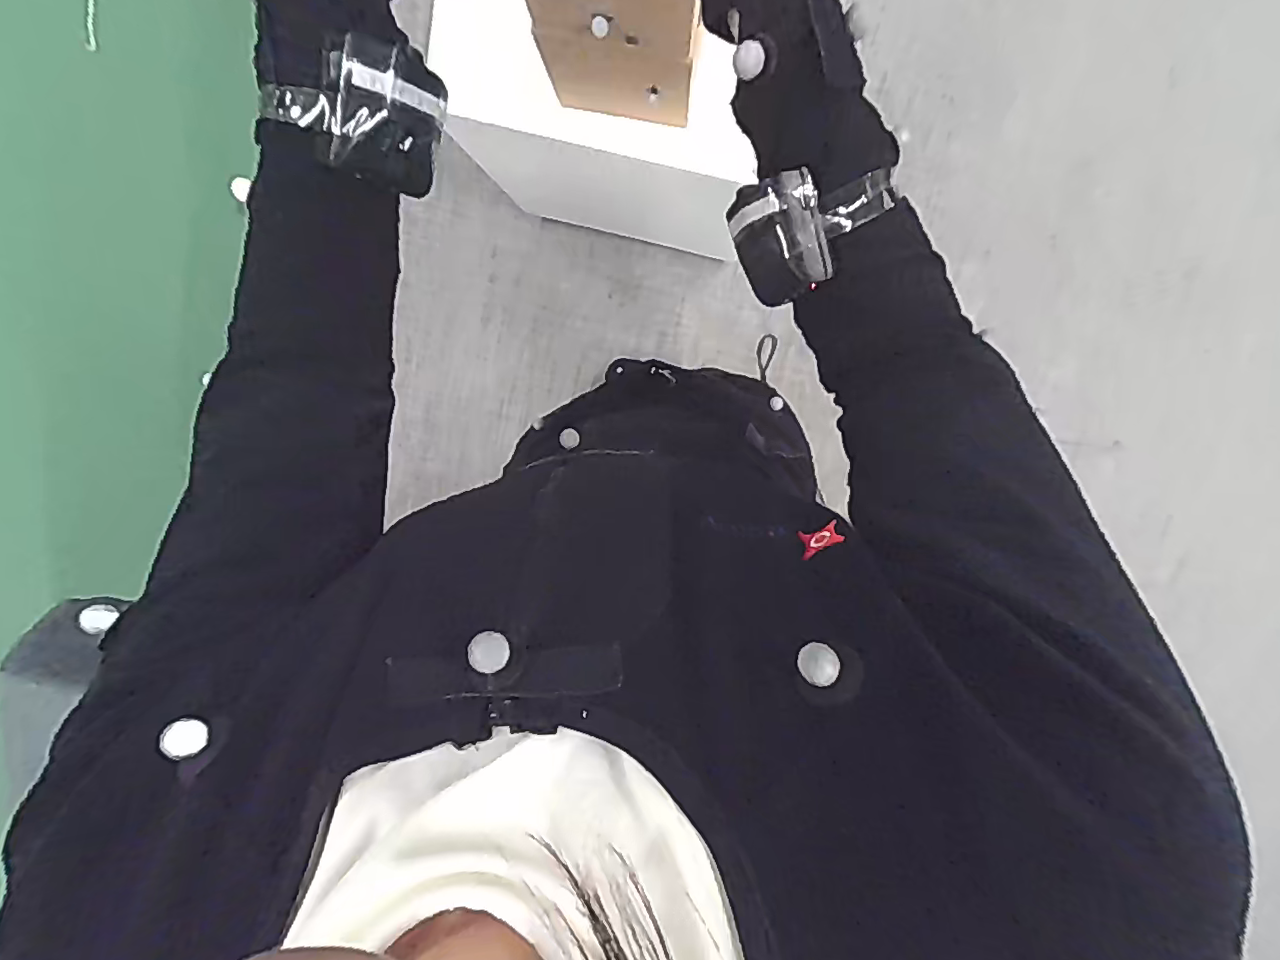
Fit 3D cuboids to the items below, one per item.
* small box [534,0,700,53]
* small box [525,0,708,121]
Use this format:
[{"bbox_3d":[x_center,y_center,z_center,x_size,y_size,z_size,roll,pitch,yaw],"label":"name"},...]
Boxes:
[{"bbox_3d":[-0.018,-0.514,0.455,0.168,0.176,0.179,8,101,1],"label":"small box"},{"bbox_3d":[-0.015,-0.542,0.617,0.179,0.176,0.168,11,102,2],"label":"small box"}]
